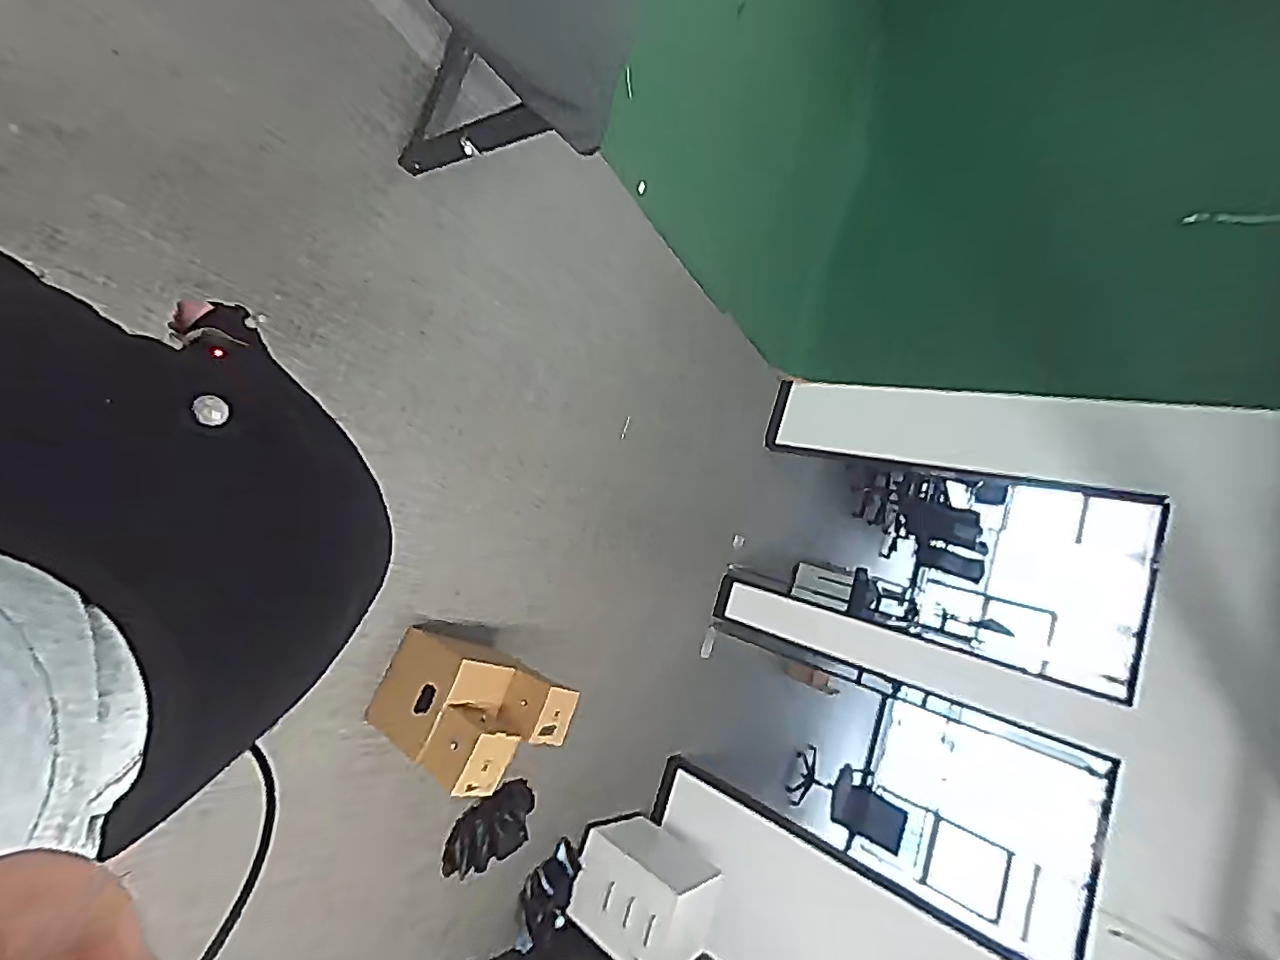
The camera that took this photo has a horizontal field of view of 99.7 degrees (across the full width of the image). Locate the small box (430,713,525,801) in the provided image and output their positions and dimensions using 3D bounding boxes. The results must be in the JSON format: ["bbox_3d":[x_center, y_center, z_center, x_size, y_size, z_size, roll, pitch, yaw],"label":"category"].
[{"bbox_3d":[-0.476,0.803,1.578,0.168,0.176,0.179,42,66,-51],"label":"small box"}]

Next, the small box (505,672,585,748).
[{"bbox_3d":[-0.318,0.758,1.783,0.168,0.176,0.179,42,62,-50],"label":"small box"}]
